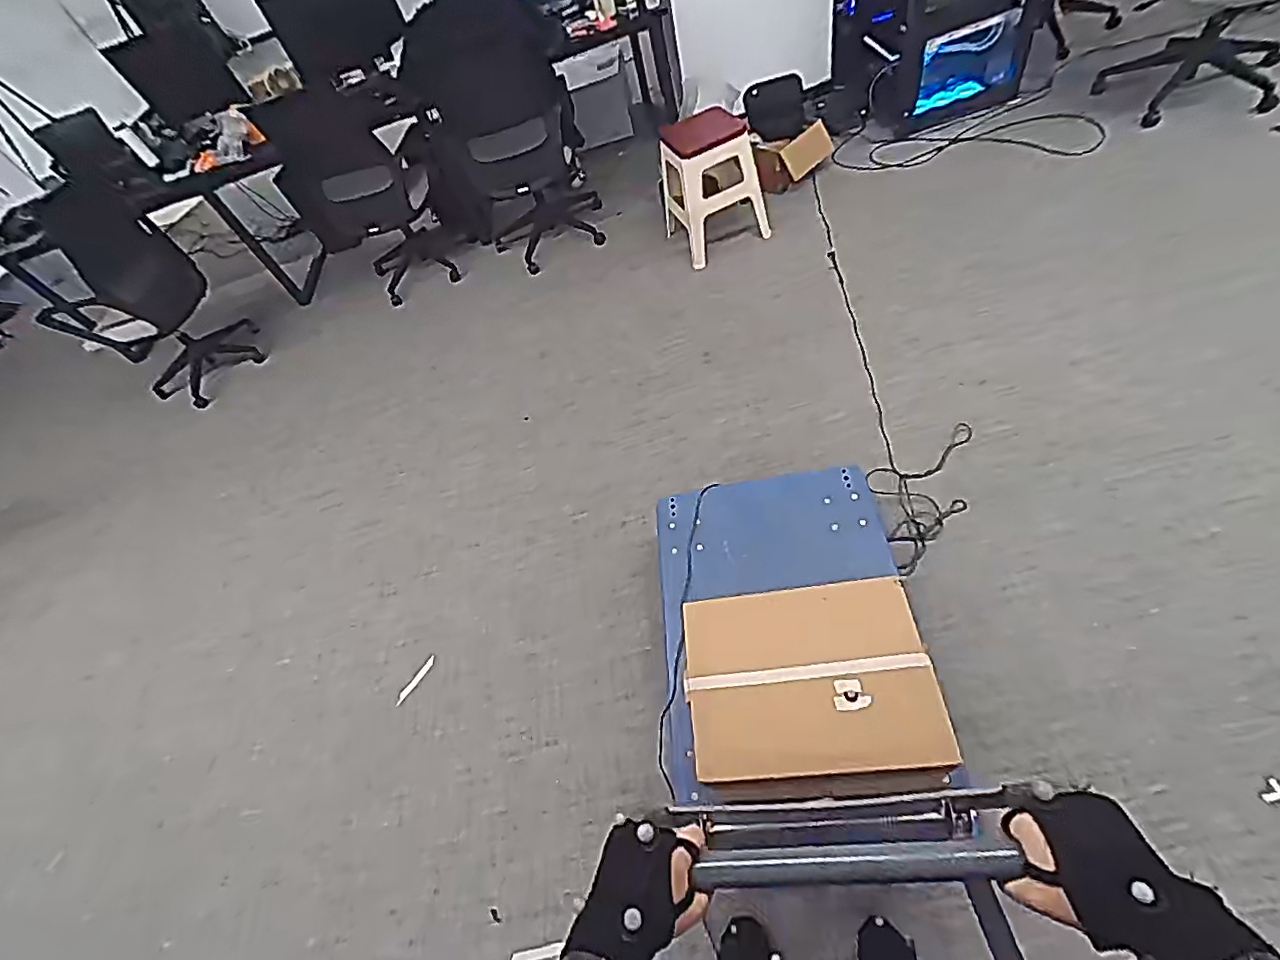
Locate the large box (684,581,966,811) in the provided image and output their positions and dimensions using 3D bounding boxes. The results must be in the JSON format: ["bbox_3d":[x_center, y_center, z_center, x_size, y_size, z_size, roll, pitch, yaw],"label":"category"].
[{"bbox_3d":[0.316,0.423,1.029,0.408,0.320,0.320,-10,53,10],"label":"large box"}]
